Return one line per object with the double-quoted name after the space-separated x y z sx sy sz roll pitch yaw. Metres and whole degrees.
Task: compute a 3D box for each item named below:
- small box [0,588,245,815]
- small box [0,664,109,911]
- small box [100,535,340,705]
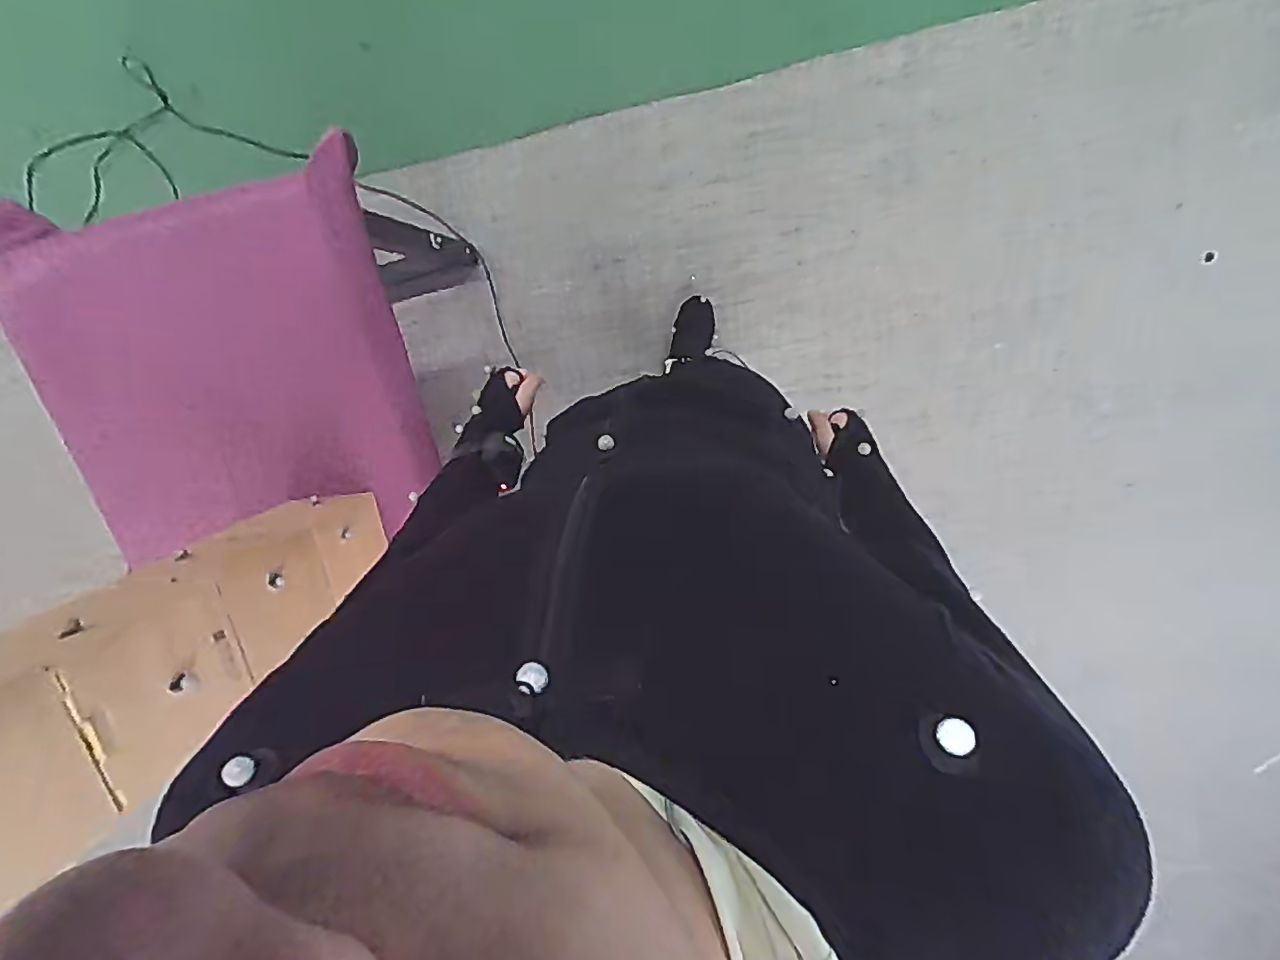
-0.574 0.228 0.583 0.179 0.176 0.168 -6 104 7 "small box"
-0.592 0.272 0.426 0.168 0.176 0.179 -8 104 8 "small box"
-0.552 0.183 0.739 0.168 0.176 0.179 -6 105 7 "small box"
